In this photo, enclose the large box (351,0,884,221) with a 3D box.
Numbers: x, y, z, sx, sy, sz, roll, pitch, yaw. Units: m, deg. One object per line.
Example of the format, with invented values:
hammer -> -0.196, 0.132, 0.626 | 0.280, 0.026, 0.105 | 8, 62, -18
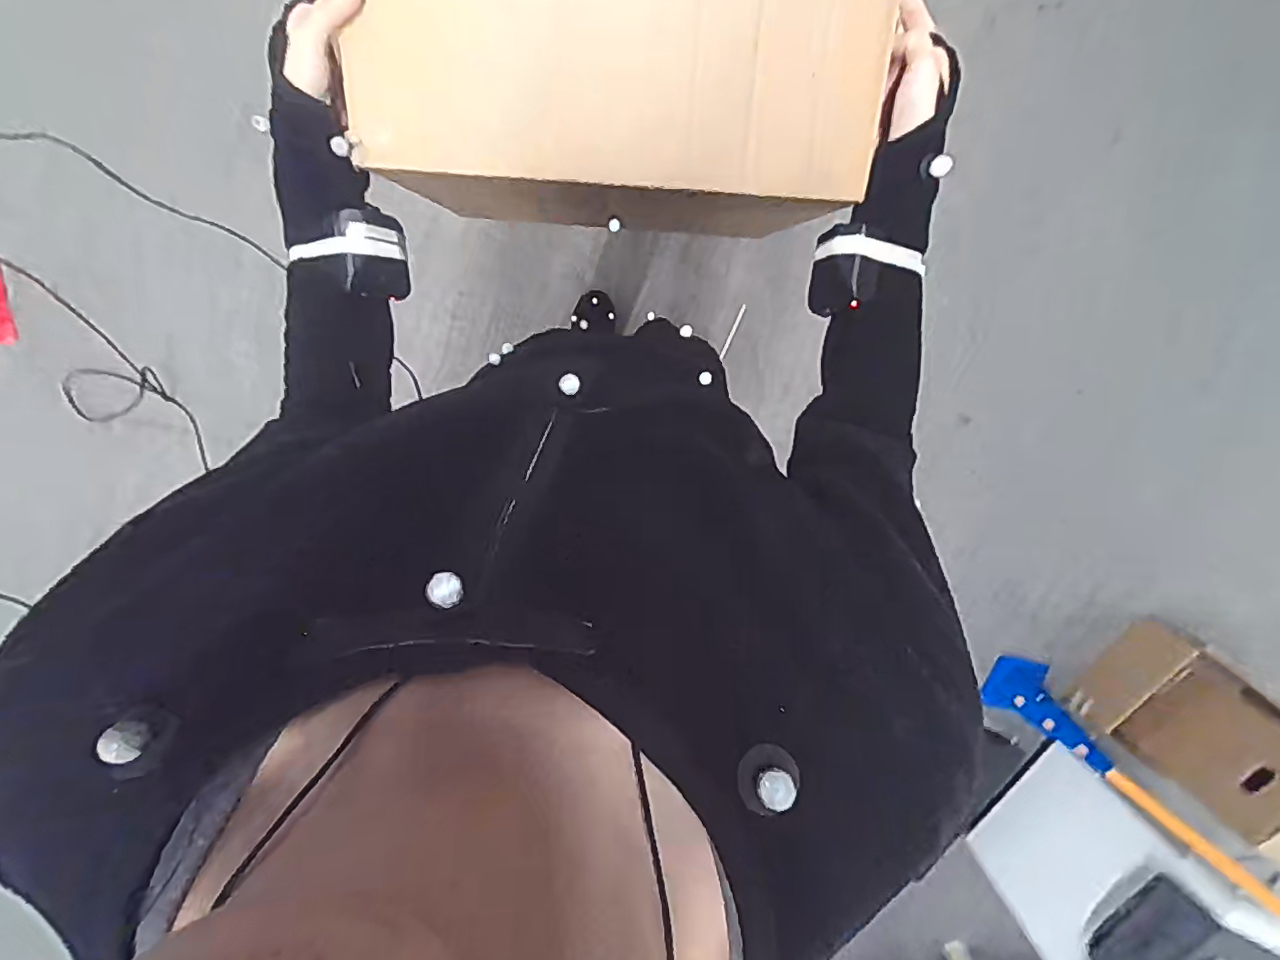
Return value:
large box -> -0.016, -0.441, 0.531 | 0.408, 0.320, 0.320 | 1, 109, -3
